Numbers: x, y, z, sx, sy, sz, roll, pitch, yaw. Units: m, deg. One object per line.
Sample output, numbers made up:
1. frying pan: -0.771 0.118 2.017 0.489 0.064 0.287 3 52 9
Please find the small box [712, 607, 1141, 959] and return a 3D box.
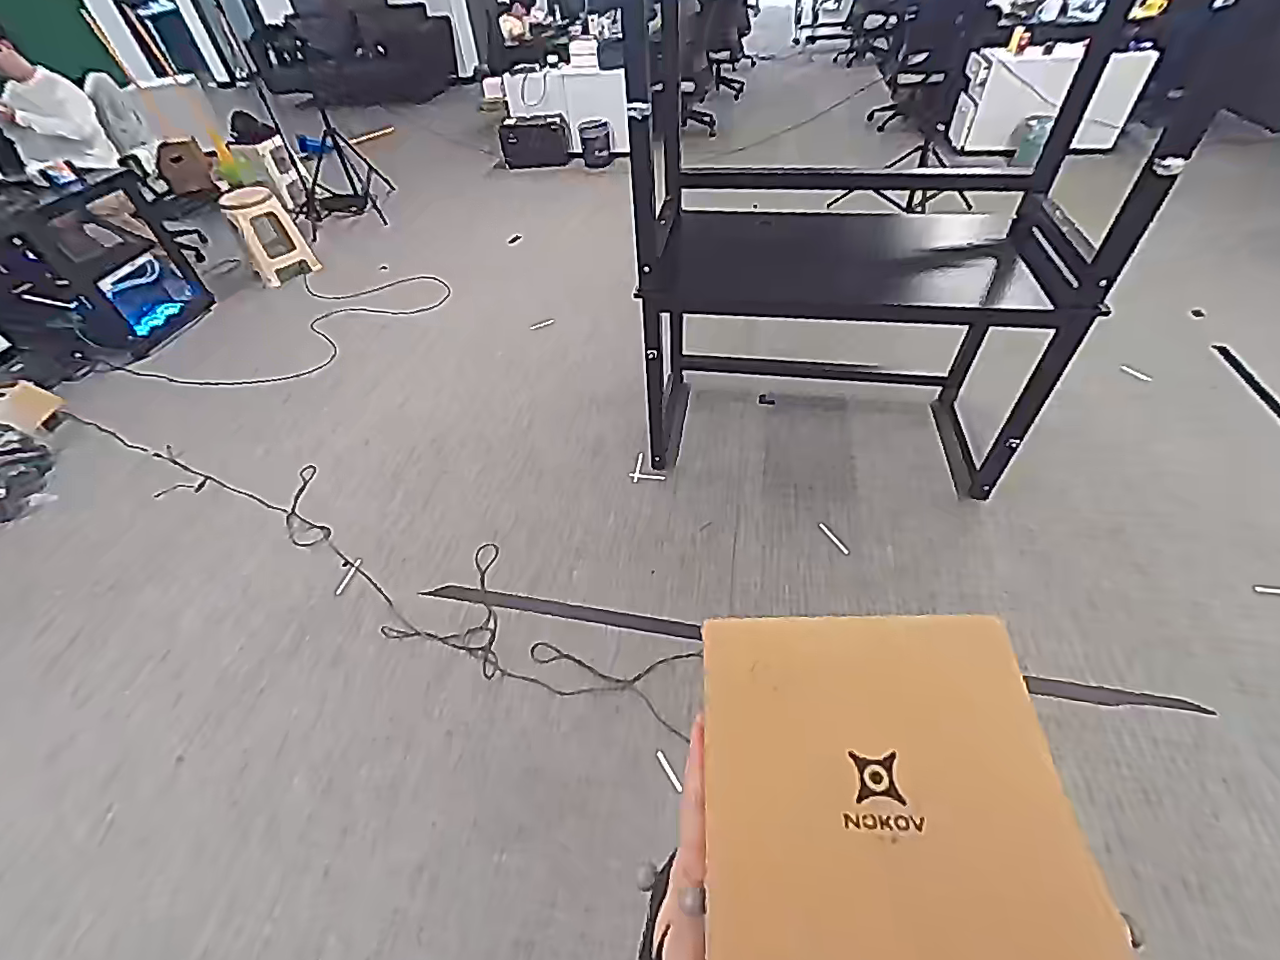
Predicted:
1. small box: 0.128 0.191 0.321 0.168 0.176 0.179 -3 53 8
